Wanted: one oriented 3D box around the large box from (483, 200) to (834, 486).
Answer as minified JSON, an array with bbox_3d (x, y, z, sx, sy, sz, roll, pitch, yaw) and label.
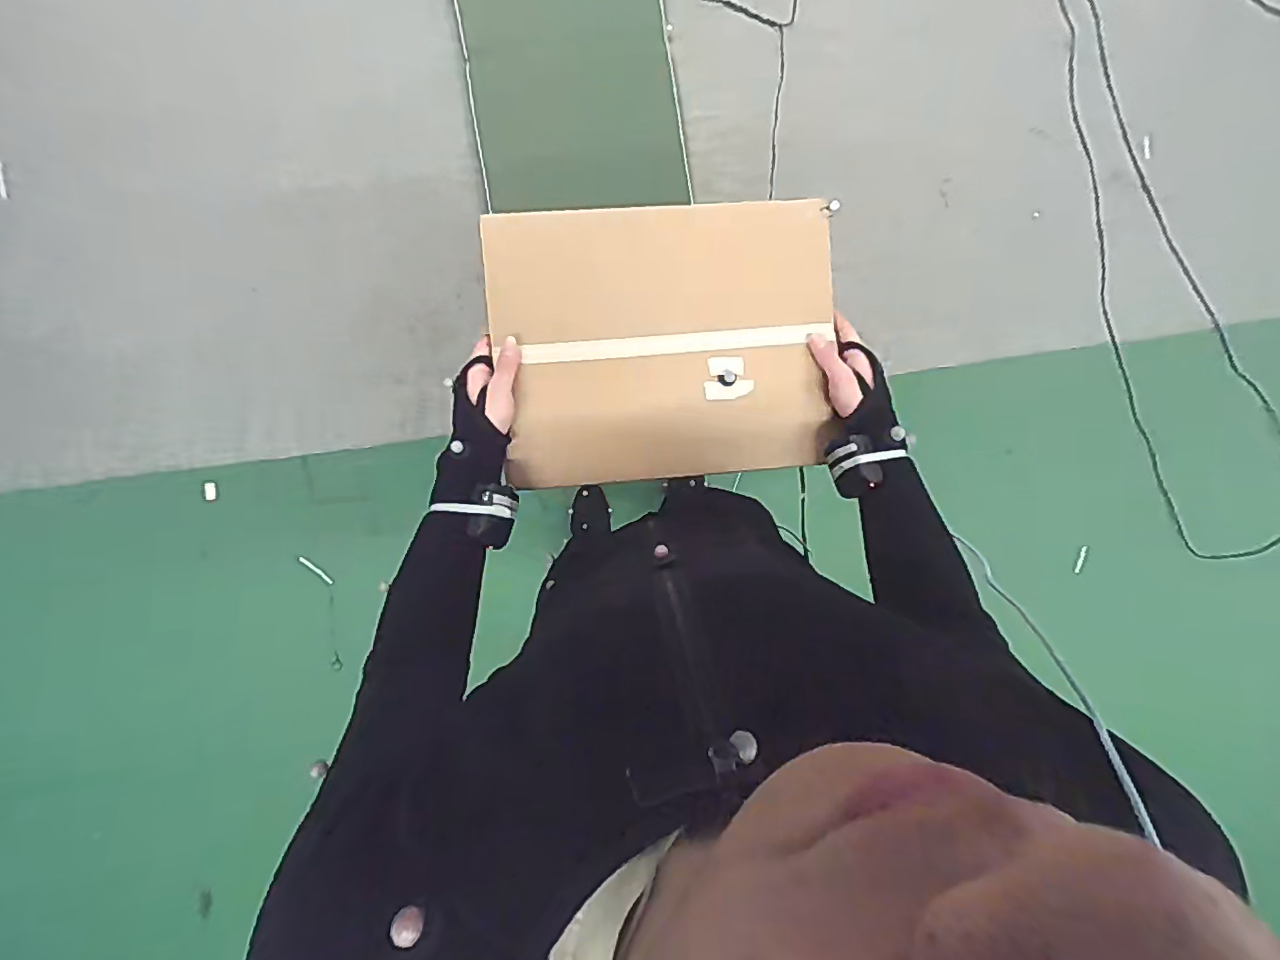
[{"bbox_3d":[0.016,-0.172,0.789,0.408,0.320,0.320,-5,95,-5],"label":"large box"}]
